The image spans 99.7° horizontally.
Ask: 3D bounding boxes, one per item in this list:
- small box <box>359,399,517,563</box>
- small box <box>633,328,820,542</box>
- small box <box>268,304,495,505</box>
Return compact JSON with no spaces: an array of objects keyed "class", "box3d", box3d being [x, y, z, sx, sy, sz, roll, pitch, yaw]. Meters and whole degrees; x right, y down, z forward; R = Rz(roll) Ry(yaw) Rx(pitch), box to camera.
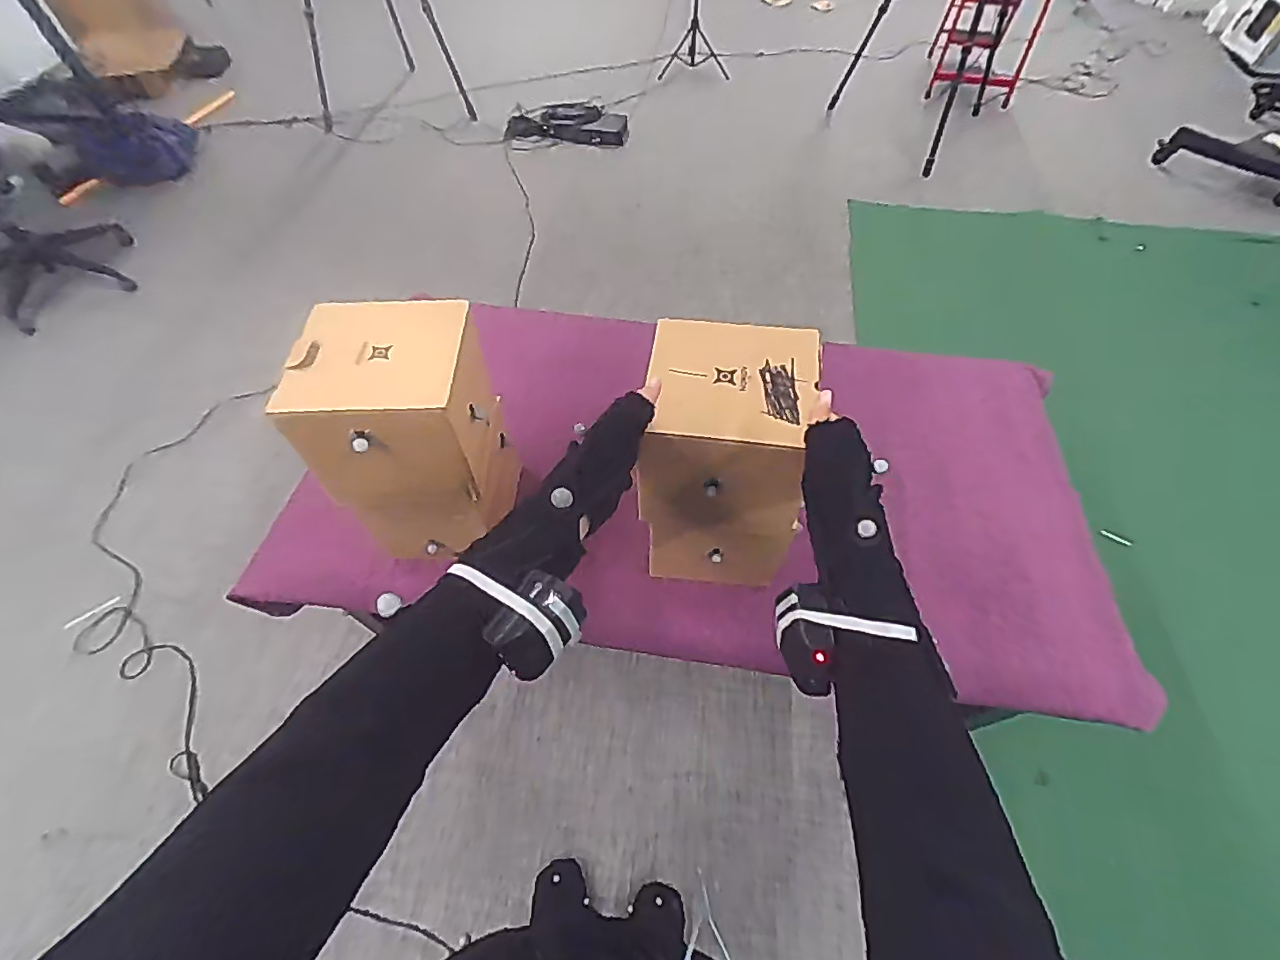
[{"class":"small box","box3d":[-0.279,-0.001,0.772,0.168,0.176,0.179,3,56,1]},{"class":"small box","box3d":[0.093,-0.045,0.612,0.179,0.176,0.168,7,56,6]},{"class":"small box","box3d":[-0.275,-0.082,0.631,0.179,0.176,0.168,0,55,-2]}]
